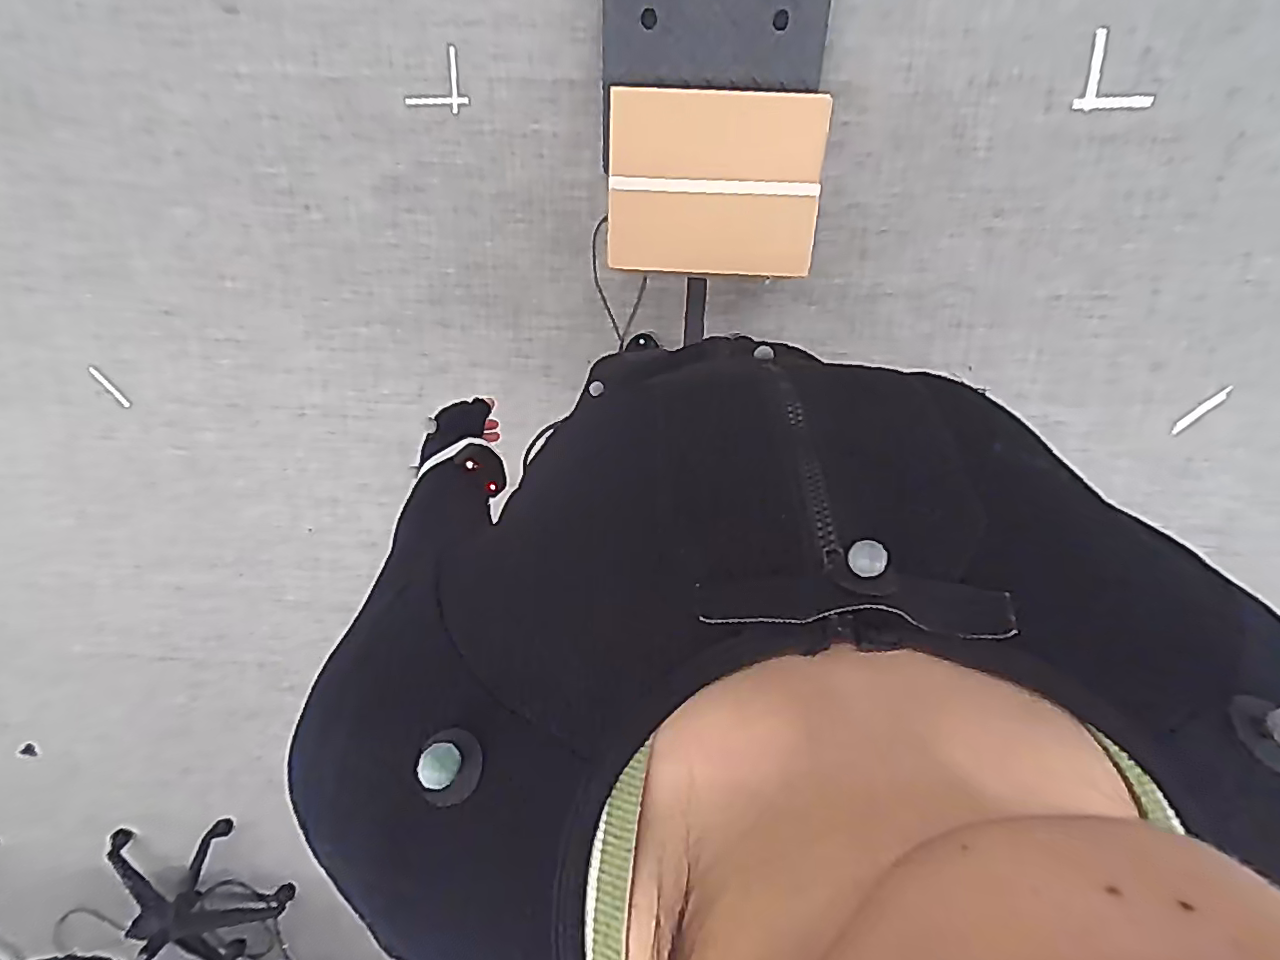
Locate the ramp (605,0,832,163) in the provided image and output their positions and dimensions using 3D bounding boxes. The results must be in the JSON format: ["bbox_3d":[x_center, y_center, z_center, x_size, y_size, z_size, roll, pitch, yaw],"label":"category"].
[{"bbox_3d":[0.173,-1.205,1.084,0.509,0.206,0.991,1,106,1],"label":"ramp"}]

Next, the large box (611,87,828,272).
[{"bbox_3d":[0.152,-0.623,1.180,0.408,0.320,0.320,3,109,2],"label":"large box"}]
